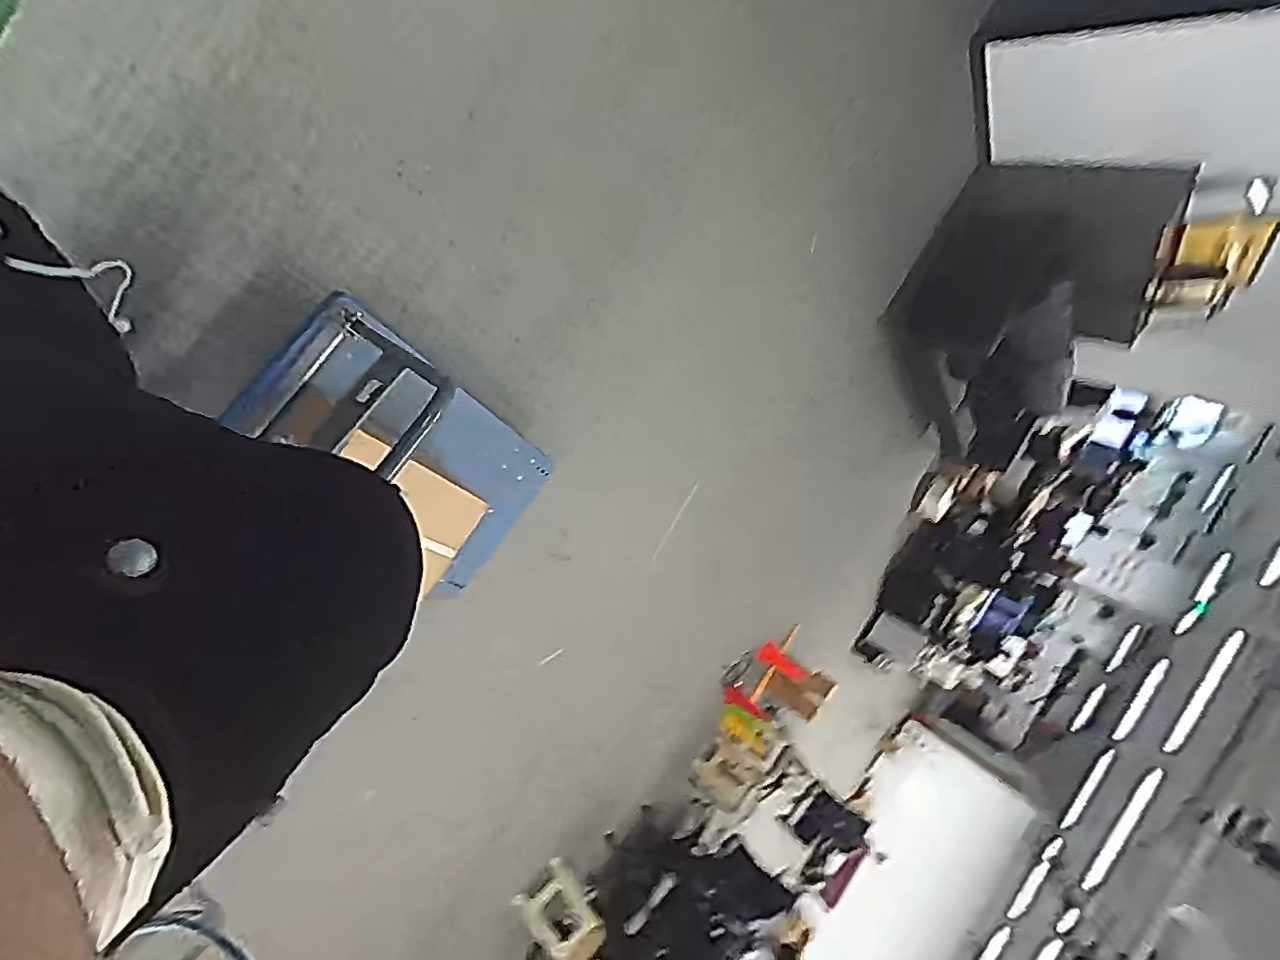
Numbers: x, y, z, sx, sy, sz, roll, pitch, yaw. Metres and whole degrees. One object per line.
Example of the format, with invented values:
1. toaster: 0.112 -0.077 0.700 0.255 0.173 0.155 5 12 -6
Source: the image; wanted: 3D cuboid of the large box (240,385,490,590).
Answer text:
1. large box: -0.675 0.023 1.351 0.320 0.320 0.408 -55 141 -5
